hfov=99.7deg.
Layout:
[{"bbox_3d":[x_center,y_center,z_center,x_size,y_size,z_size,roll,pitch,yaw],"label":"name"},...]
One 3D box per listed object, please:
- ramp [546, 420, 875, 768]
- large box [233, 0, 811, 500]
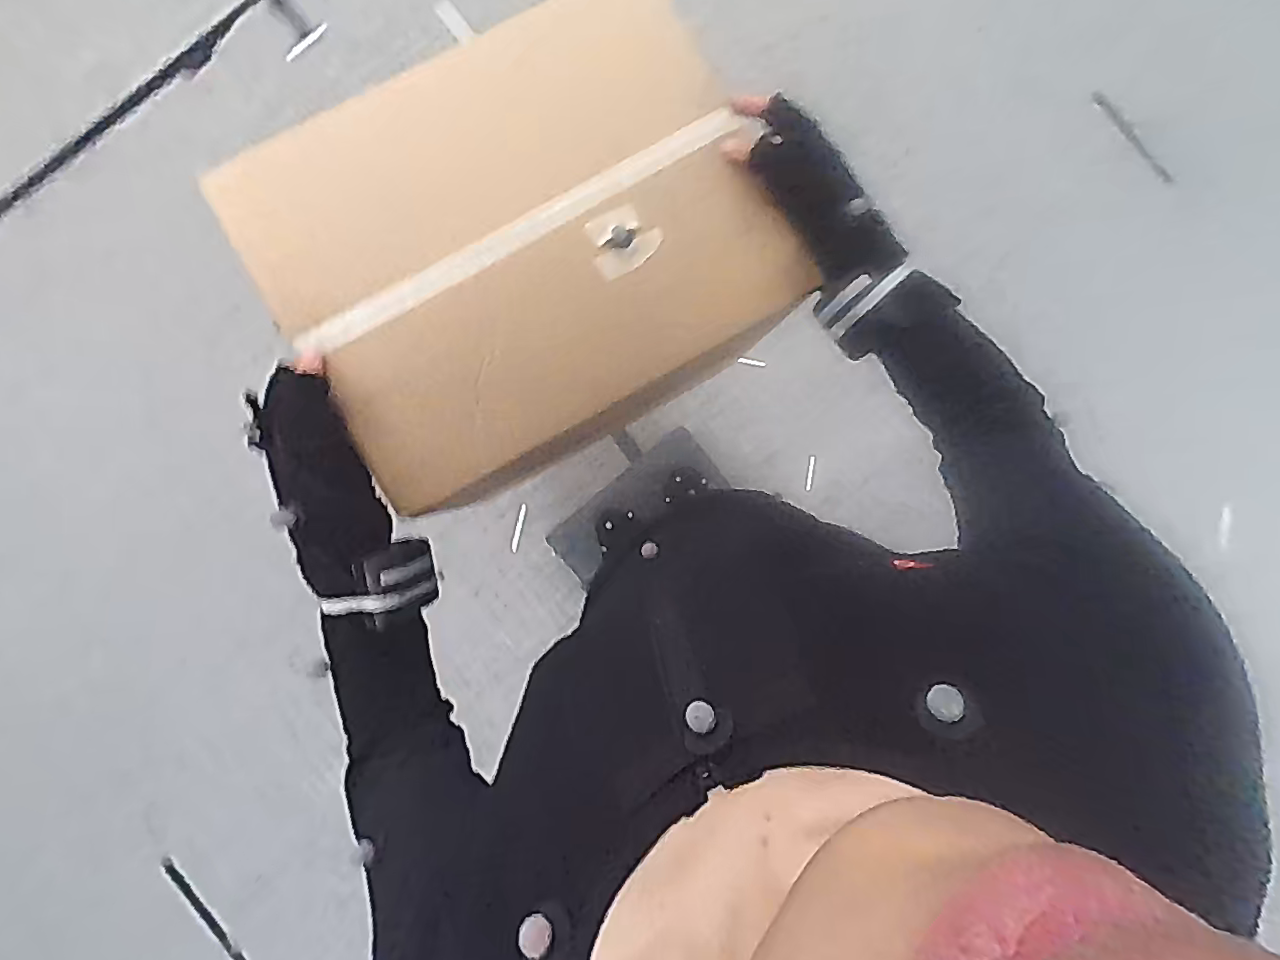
[{"bbox_3d":[0.236,0.355,1.567,0.509,0.206,0.991,-42,91,-2],"label":"ramp"},{"bbox_3d":[-0.103,-0.207,0.605,0.408,0.320,0.320,-30,92,-4],"label":"large box"}]
